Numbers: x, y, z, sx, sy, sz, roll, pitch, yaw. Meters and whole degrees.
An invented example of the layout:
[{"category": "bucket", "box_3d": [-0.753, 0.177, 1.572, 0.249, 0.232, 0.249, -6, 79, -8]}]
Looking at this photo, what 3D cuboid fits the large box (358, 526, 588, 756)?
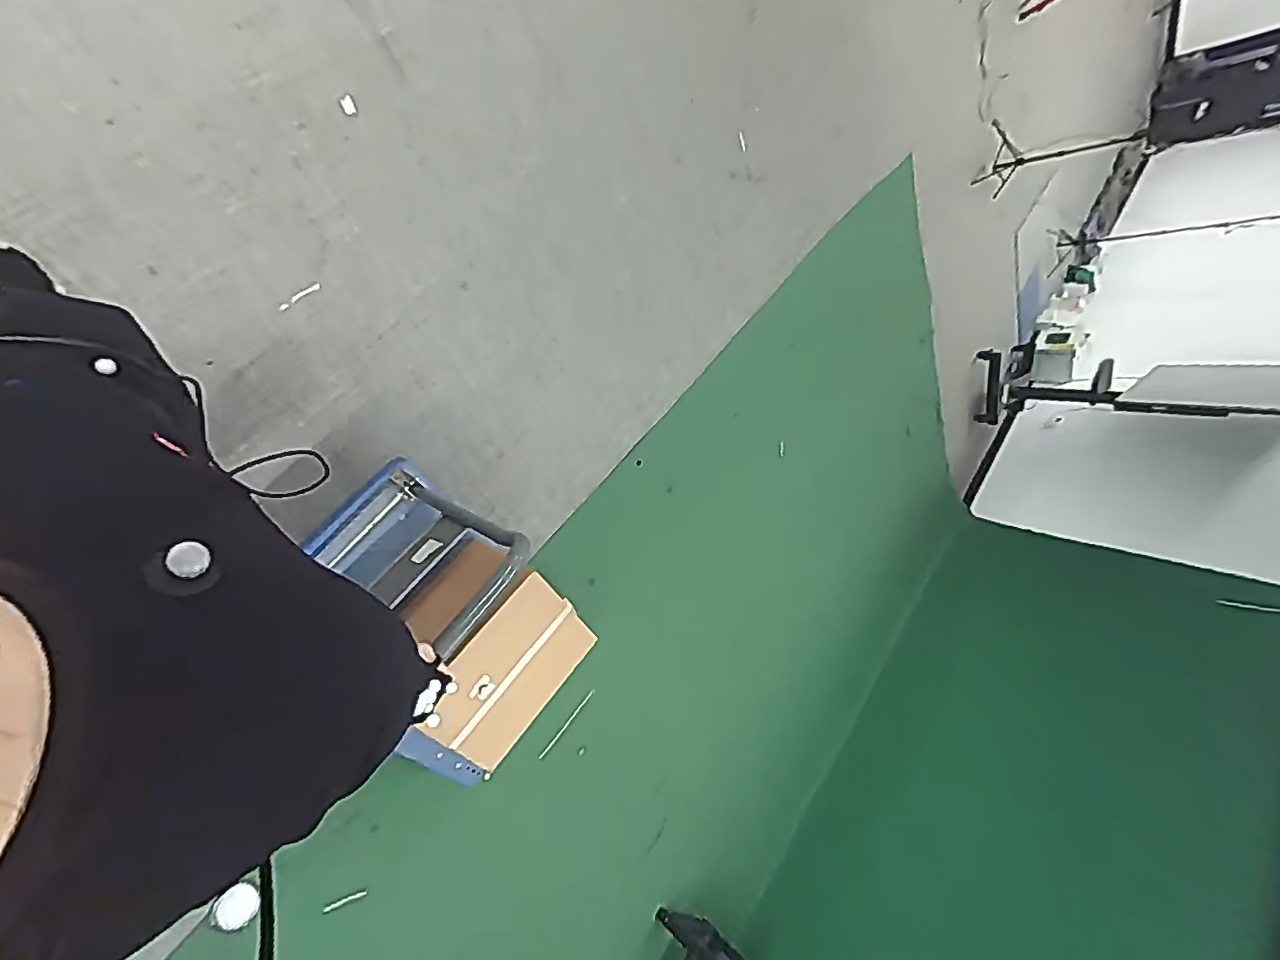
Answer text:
[{"category": "large box", "box_3d": [-0.418, 0.389, 1.384, 0.408, 0.320, 0.320, -48, 128, -22]}]
